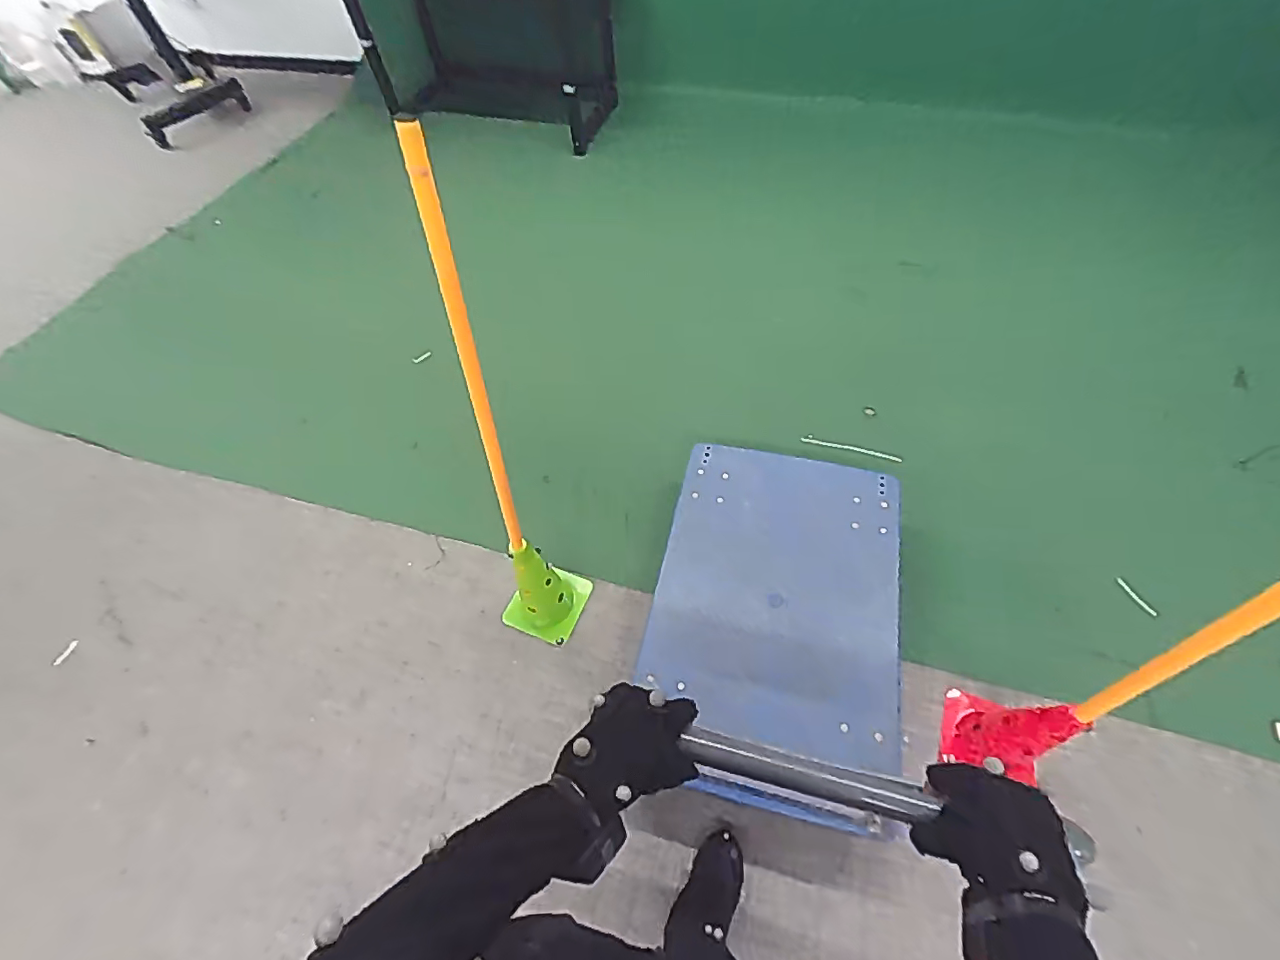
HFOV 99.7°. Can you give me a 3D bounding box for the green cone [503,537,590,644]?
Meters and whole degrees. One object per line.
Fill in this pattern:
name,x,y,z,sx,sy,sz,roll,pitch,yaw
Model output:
green cone,-0.273,0.246,1.385,0.202,0.368,0.200,17,58,15
